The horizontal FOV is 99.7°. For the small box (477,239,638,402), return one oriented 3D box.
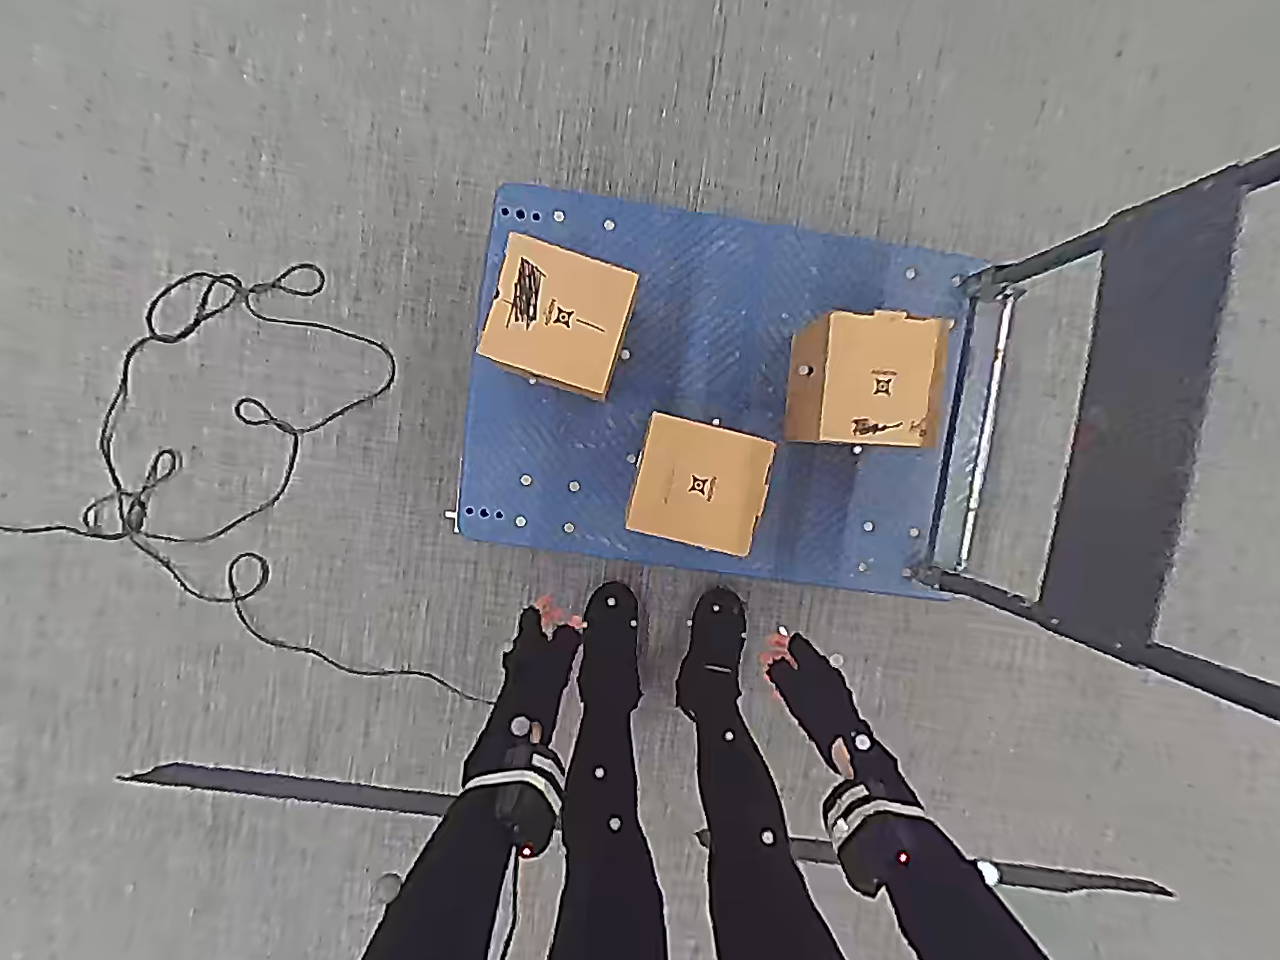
[{"bbox_3d":[-0.113,-0.217,0.790,0.179,0.176,0.168,18,93,-4],"label":"small box"}]

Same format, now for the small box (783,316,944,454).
[{"bbox_3d":[0.324,-0.132,0.814,0.168,0.176,0.179,4,93,-2],"label":"small box"}]

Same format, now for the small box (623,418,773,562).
[{"bbox_3d":[0.077,0.011,0.815,0.179,0.176,0.168,14,91,-2],"label":"small box"}]
